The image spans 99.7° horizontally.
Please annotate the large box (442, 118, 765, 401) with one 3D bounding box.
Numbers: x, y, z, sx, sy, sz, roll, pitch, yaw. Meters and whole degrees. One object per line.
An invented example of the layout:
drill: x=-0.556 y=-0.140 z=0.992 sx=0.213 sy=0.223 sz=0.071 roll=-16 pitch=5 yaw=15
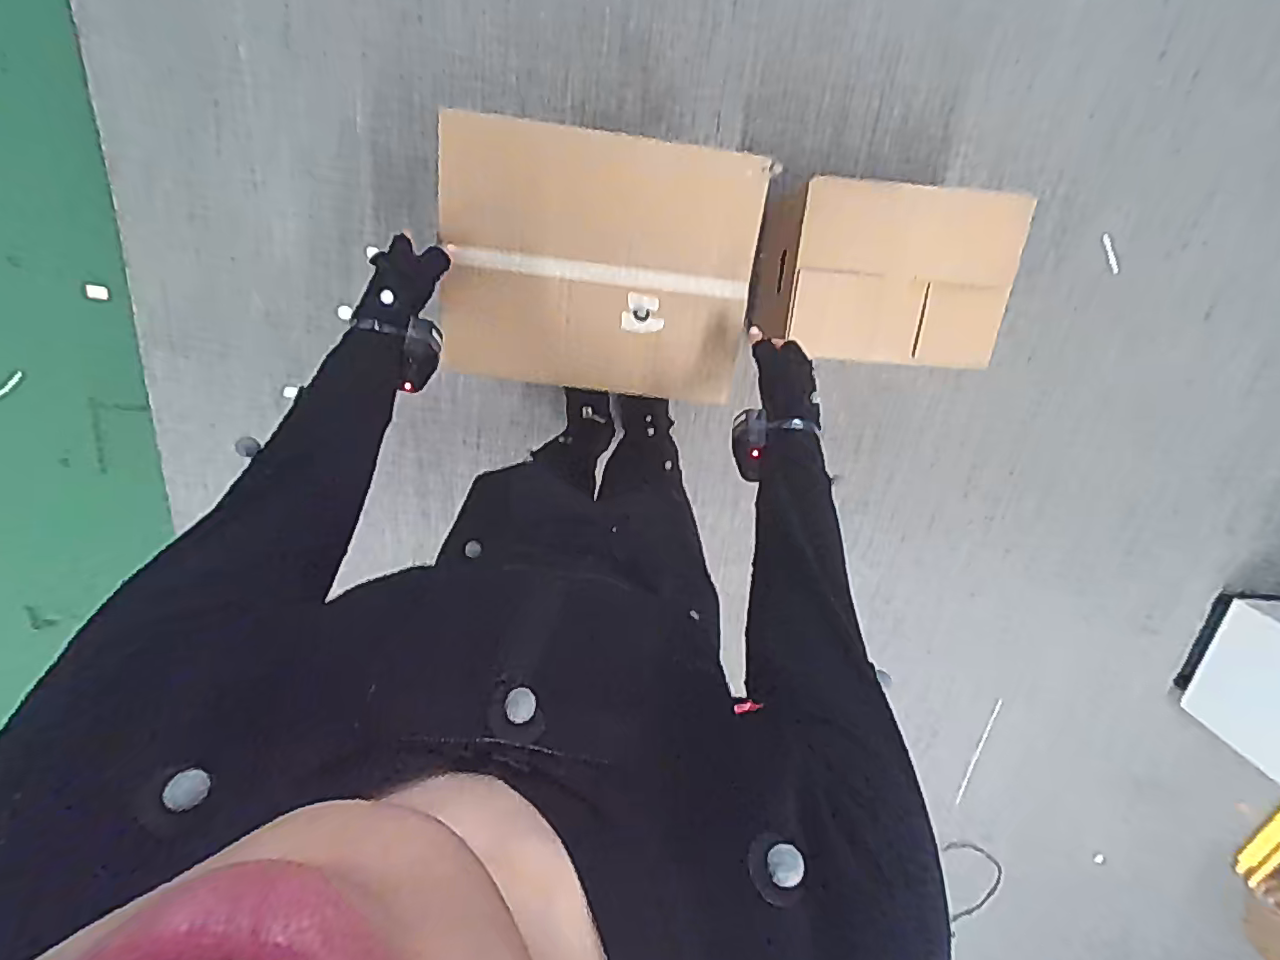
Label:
large box: x=-0.063 y=-0.325 z=0.849 sx=0.408 sy=0.320 sz=0.320 roll=6 pitch=111 yaw=-5
